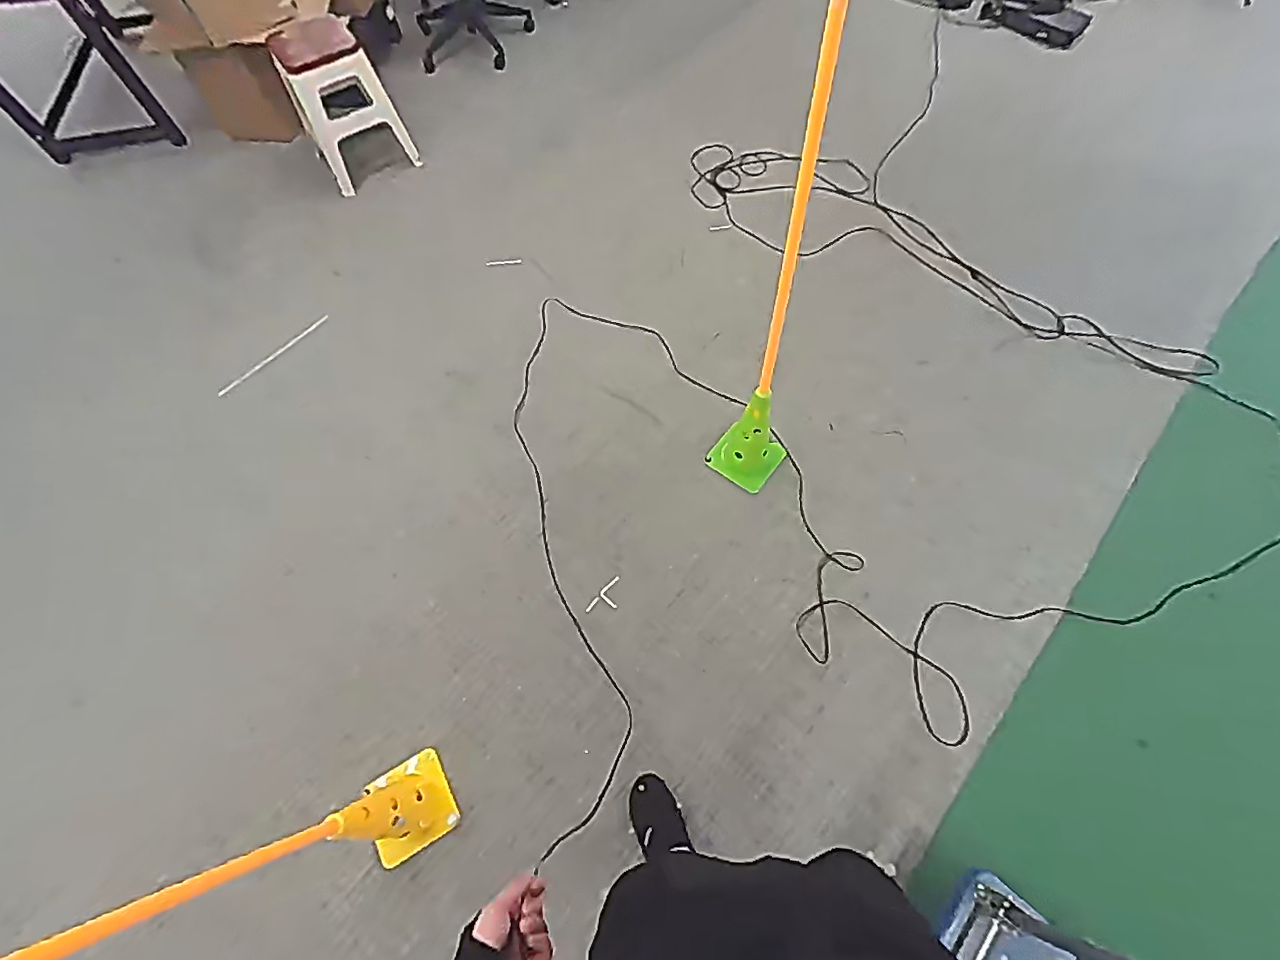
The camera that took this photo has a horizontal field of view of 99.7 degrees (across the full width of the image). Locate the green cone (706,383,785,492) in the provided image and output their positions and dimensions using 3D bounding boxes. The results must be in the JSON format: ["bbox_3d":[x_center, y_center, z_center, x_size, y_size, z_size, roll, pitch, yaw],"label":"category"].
[{"bbox_3d":[0.333,-0.154,1.574,0.200,0.368,0.202,34,69,17],"label":"green cone"}]
